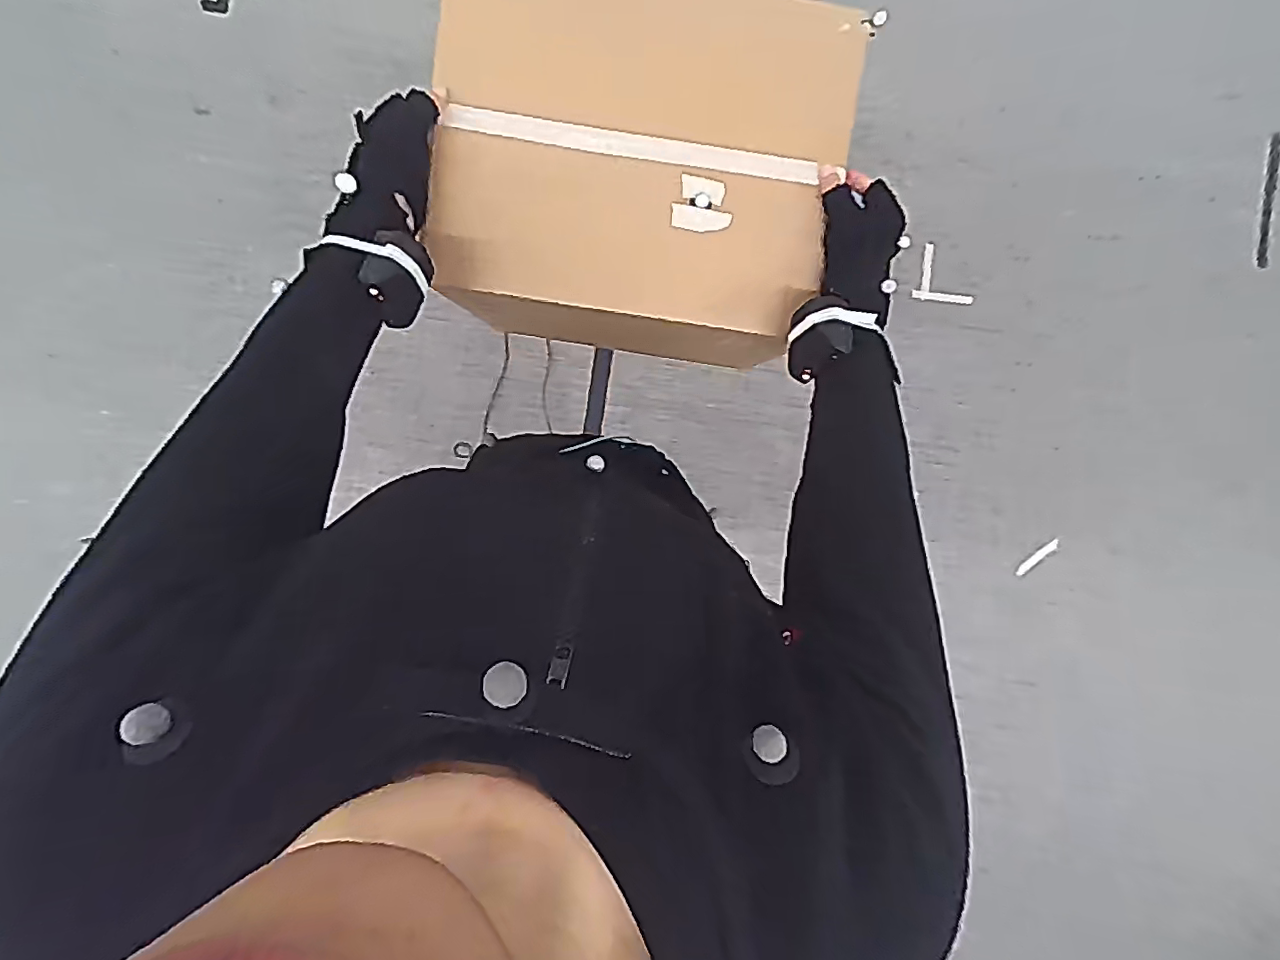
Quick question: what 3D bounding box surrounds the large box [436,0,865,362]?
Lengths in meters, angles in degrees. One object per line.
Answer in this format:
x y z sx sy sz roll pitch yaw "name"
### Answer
0.001 -0.342 0.685 0.408 0.320 0.320 8 97 -3 "large box"
